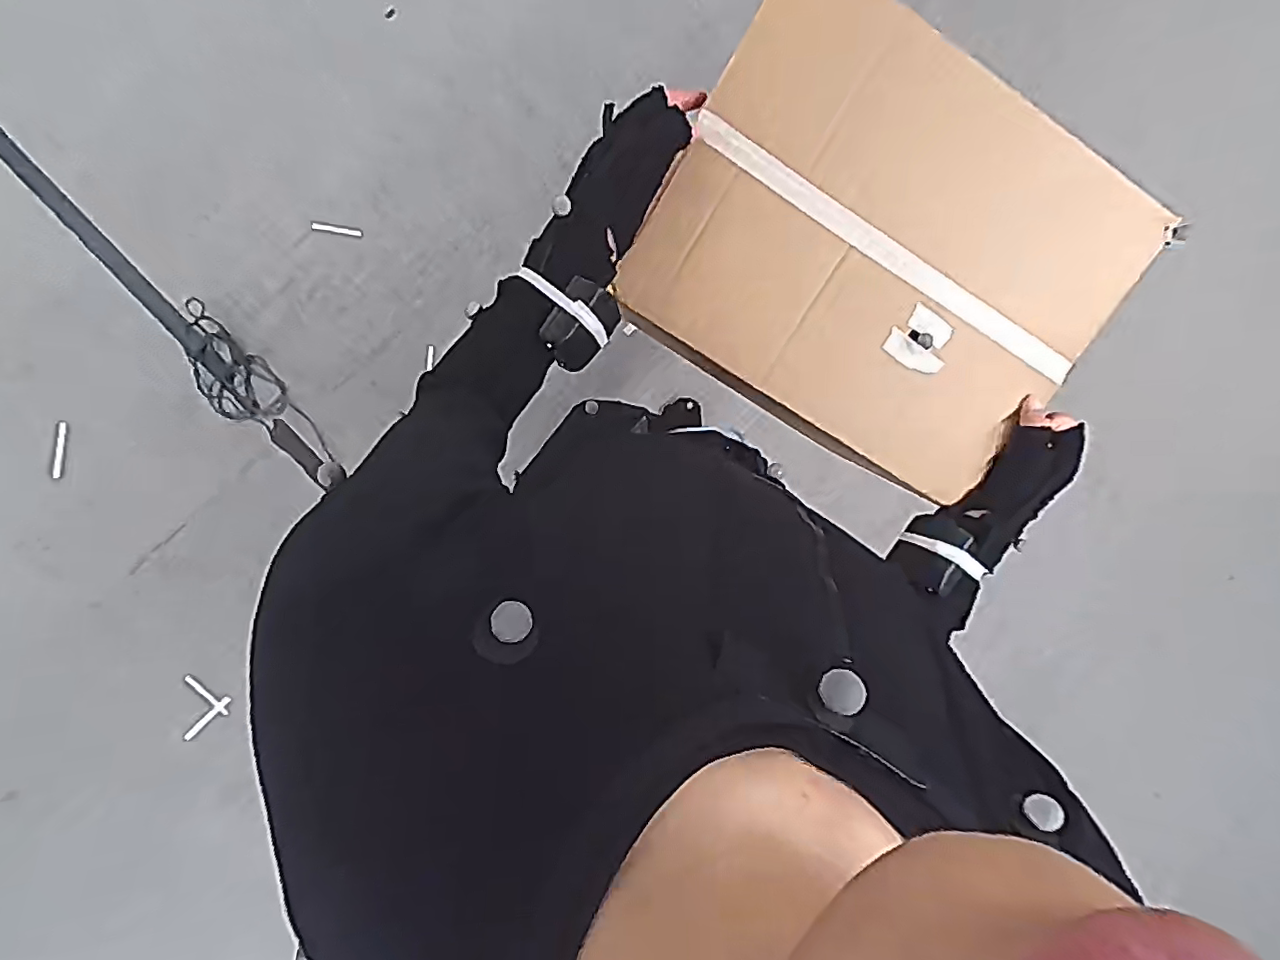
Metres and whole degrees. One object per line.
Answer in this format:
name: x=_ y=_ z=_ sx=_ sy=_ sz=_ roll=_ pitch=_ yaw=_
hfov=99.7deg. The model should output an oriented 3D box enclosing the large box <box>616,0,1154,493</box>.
large box: x=0.215 y=-0.243 z=0.632 sx=0.408 sy=0.320 sz=0.320 roll=30 pitch=102 yaw=-9
